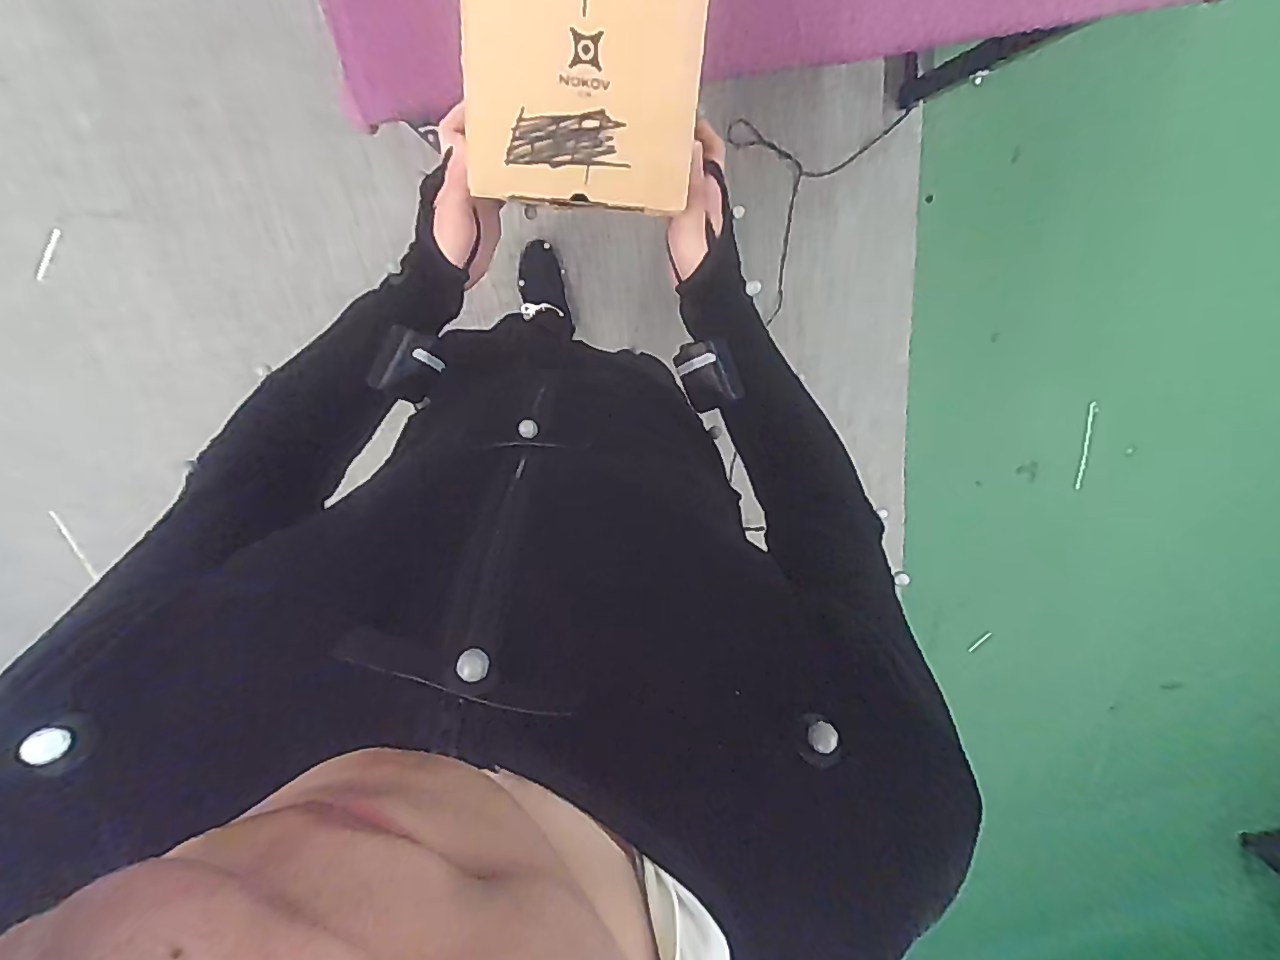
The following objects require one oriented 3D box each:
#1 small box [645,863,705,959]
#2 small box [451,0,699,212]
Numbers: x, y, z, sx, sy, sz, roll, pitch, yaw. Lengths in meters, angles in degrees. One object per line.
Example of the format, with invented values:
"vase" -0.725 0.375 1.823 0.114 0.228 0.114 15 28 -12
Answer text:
"small box" 0.107 1.338 1.681 0.168 0.176 0.179 -5 110 -4
"small box" -0.049 -0.324 0.443 0.168 0.176 0.179 3 115 -5
